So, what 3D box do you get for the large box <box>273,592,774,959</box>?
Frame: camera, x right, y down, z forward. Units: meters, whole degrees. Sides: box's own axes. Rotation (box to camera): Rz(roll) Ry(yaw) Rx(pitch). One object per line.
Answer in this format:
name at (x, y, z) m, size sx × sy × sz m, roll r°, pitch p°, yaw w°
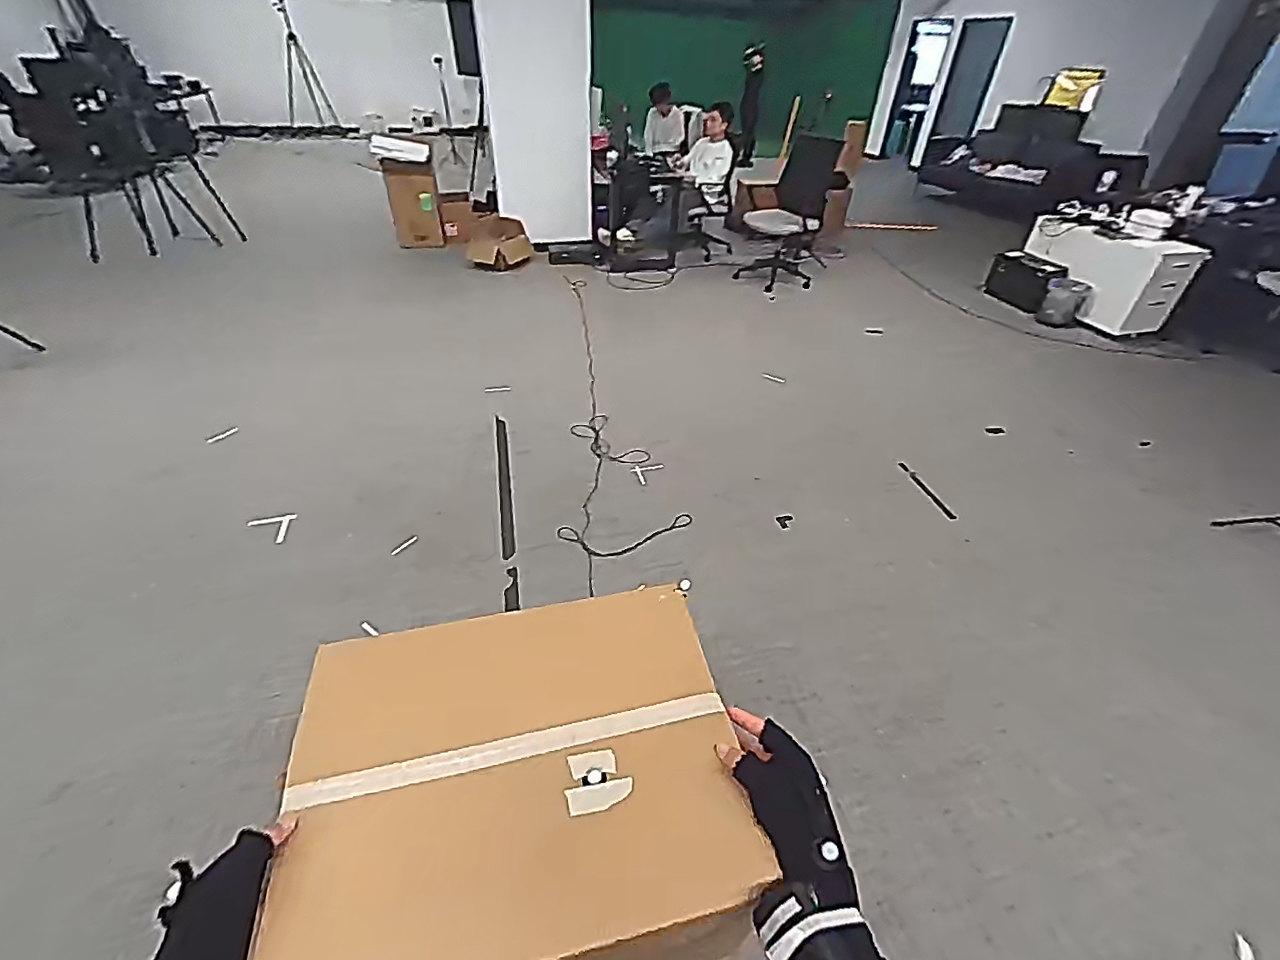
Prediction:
large box at (-0.116, 0.376, 0.623) m, size 0.408 × 0.320 × 0.320 m, roll -7°, pitch 43°, yaw -11°
